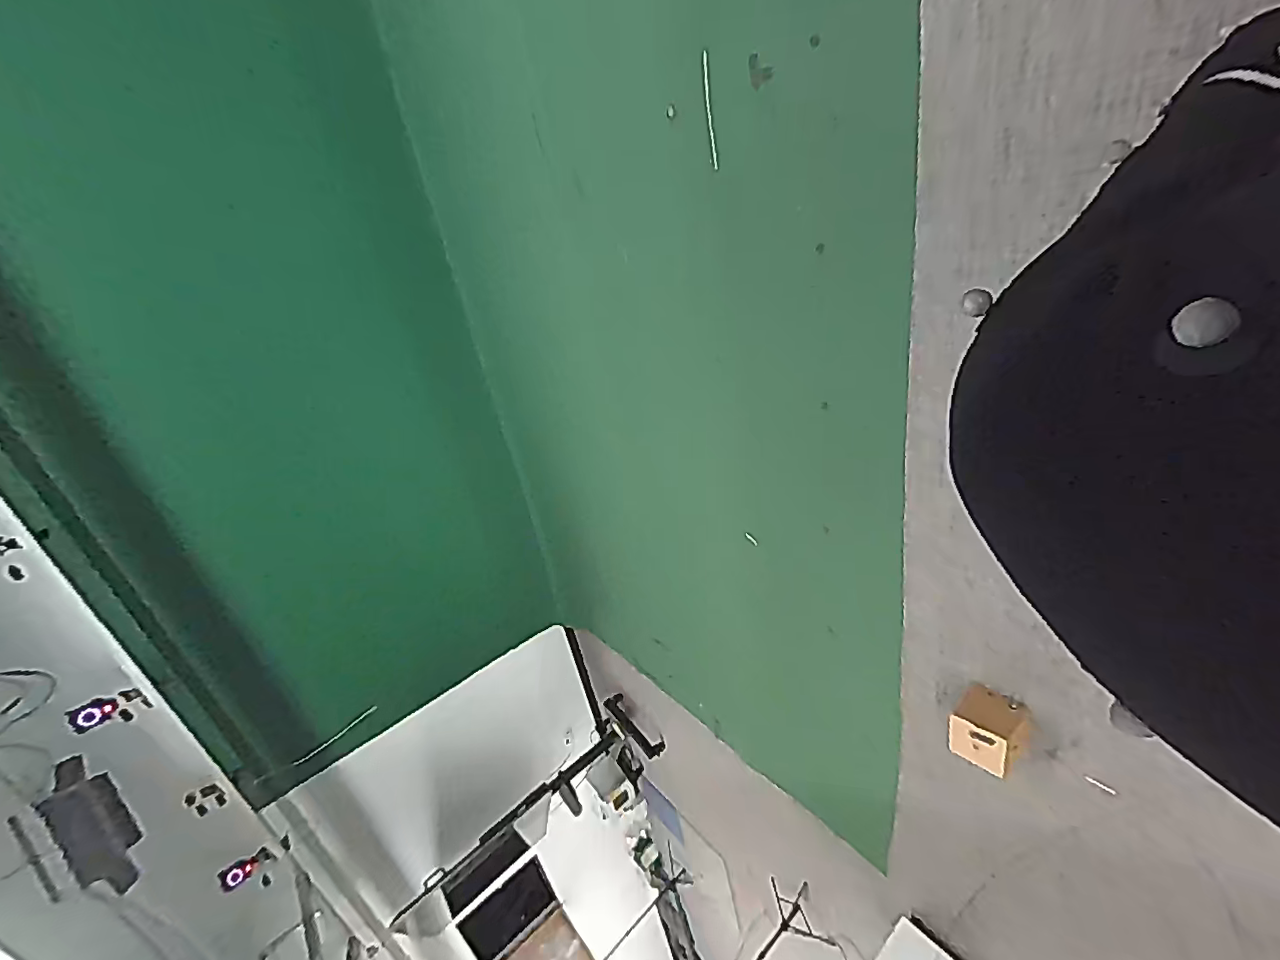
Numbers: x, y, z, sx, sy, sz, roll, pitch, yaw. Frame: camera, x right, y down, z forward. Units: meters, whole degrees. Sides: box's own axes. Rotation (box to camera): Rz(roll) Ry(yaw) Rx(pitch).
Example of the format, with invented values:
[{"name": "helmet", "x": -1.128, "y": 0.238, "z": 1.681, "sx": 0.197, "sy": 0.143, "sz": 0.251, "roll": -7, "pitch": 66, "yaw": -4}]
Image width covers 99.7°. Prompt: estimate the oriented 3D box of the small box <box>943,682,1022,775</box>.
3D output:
[{"name": "small box", "x": 1.115, "y": 0.800, "z": 1.760, "sx": 0.168, "sy": 0.176, "sz": 0.179, "roll": 20, "pitch": 130, "yaw": 50}]
